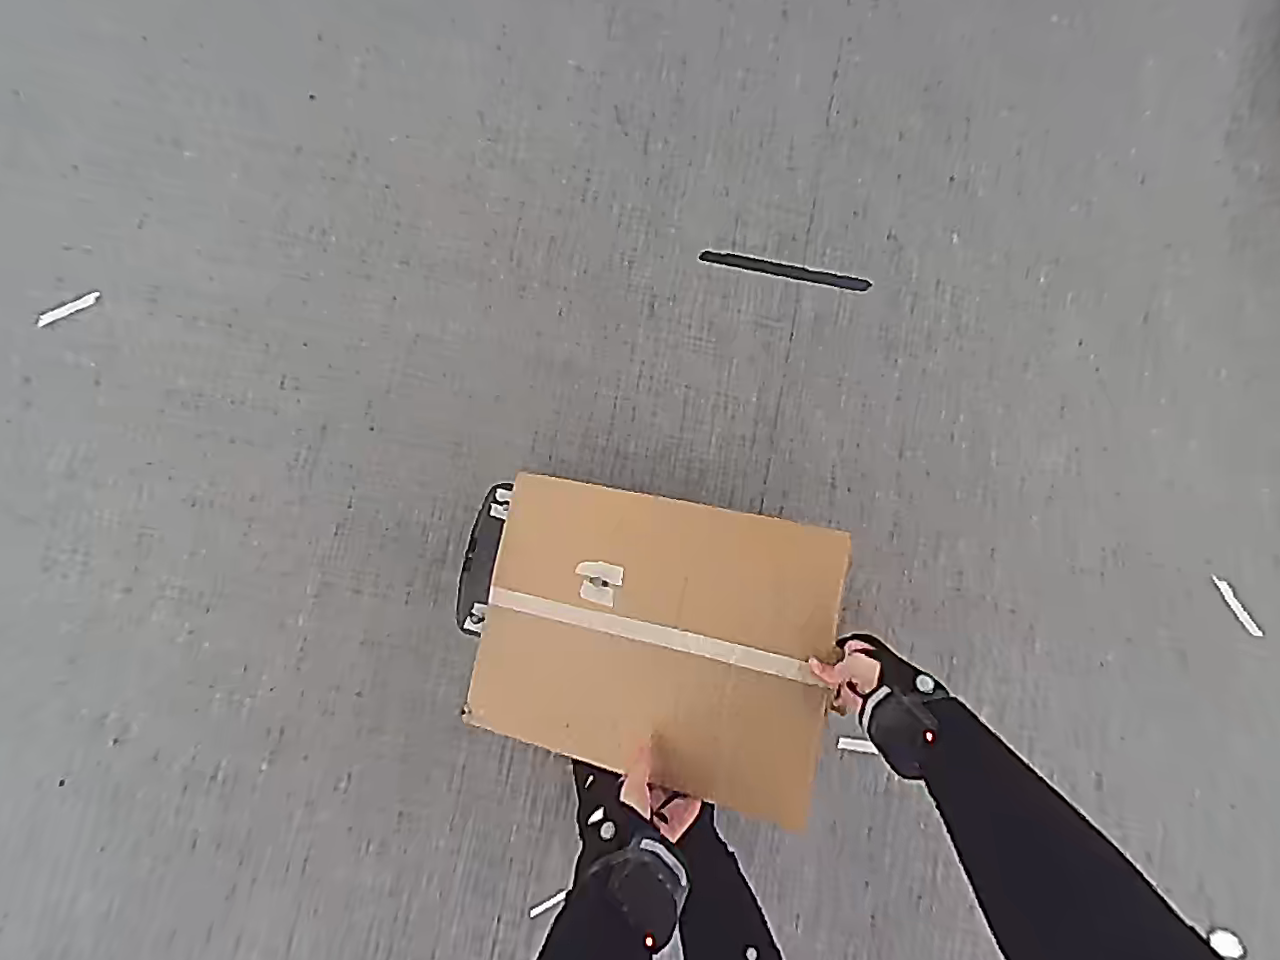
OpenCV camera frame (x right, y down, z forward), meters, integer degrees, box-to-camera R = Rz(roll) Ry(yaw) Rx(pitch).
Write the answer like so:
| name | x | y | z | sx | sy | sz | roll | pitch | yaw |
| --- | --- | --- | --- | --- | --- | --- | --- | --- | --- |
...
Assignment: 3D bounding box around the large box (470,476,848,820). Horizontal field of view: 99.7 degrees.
| name | x | y | z | sx | sy | sz | roll | pitch | yaw |
| --- | --- | --- | --- | --- | --- | --- | --- | --- | --- |
| large box | 0.046 | 0.192 | 0.757 | 0.408 | 0.320 | 0.320 | 10 | 83 | 15 |
